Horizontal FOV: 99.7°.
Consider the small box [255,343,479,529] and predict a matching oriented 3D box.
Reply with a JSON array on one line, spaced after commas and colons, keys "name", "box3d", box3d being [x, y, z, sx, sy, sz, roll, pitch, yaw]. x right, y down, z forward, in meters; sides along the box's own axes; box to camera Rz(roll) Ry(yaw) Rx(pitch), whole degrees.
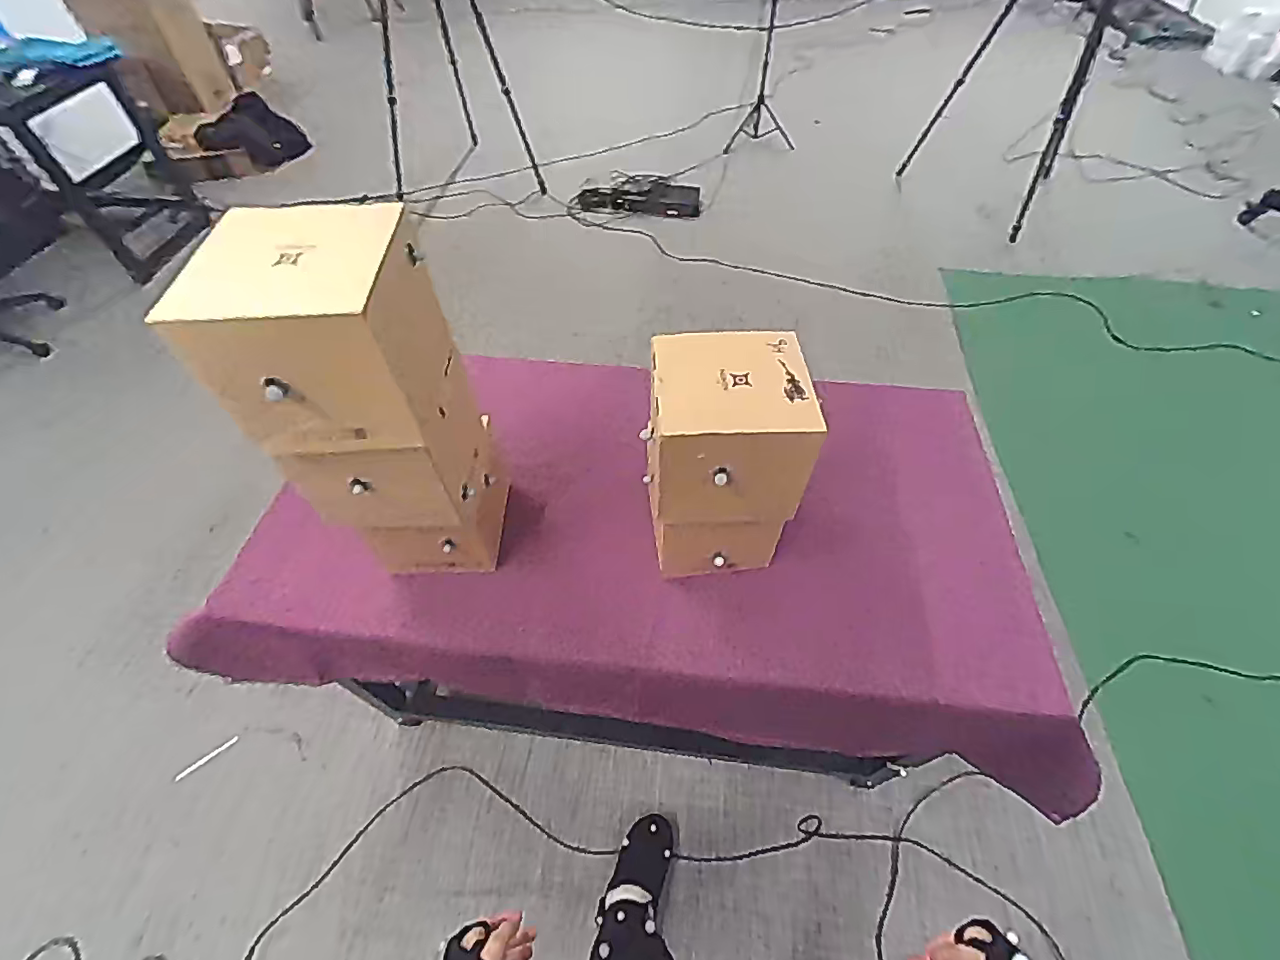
[{"name": "small box", "box3d": [-0.312, -0.051, 0.670, 0.179, 0.176, 0.168, -1, 53, 0]}]

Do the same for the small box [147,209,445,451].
[{"name": "small box", "box3d": [-0.306, -0.140, 0.533, 0.168, 0.176, 0.179, -3, 52, -2]}]

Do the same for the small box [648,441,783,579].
[{"name": "small box", "box3d": [0.100, 0.027, 0.804, 0.168, 0.176, 0.179, -5, 53, -2]}]

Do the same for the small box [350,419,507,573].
[{"name": "small box", "box3d": [-0.306, 0.028, 0.815, 0.168, 0.176, 0.179, 0, 52, 0]}]

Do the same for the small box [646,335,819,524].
[{"name": "small box", "box3d": [0.099, -0.057, 0.662, 0.179, 0.176, 0.168, -1, 53, 0]}]
